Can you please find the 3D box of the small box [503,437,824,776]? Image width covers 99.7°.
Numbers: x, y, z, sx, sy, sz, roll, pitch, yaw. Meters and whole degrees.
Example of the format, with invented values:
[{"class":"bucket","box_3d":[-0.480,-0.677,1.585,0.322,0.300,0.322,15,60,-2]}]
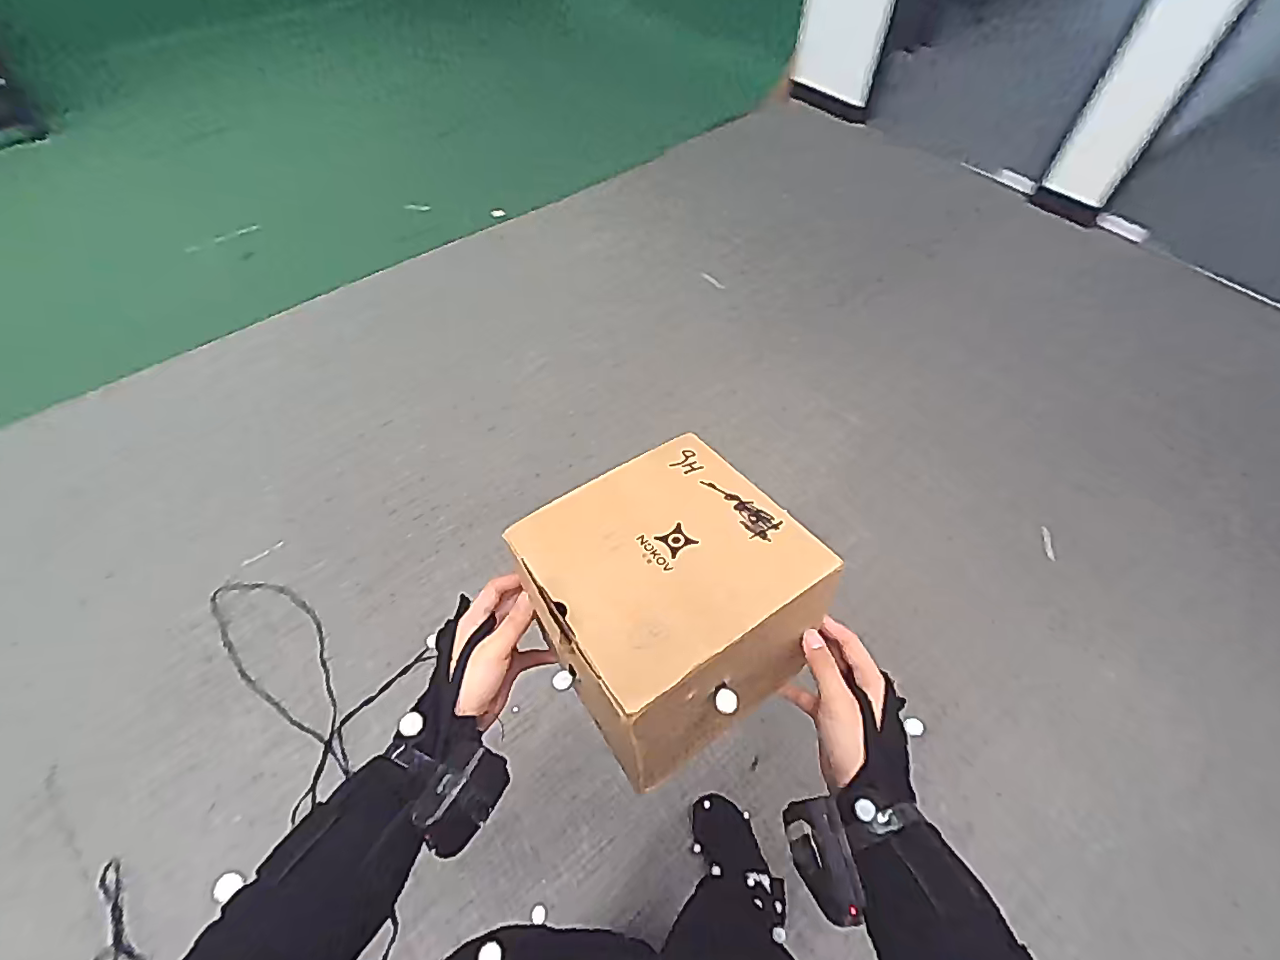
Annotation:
[{"class":"small box","box_3d":[0.018,0.103,0.442,0.179,0.176,0.168,-29,52,-21]}]
